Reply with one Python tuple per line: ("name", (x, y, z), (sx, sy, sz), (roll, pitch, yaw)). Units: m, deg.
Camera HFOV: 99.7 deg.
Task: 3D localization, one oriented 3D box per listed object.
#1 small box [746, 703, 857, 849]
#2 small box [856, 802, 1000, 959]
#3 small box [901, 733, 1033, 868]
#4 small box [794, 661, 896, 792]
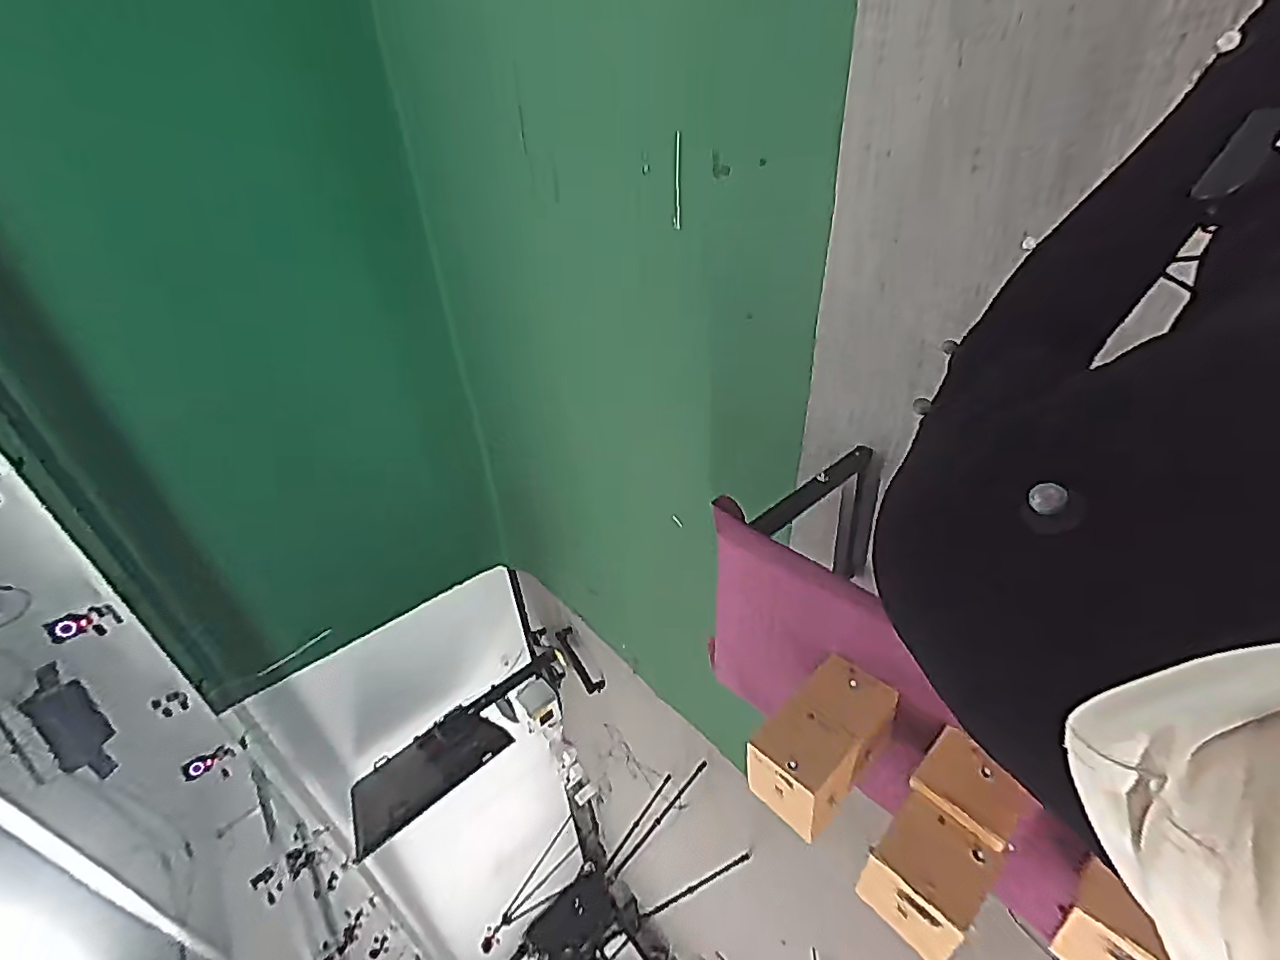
("small box", (0.348, 0.629, 1.164), (0.168, 0.176, 0.179), (24, 132, 43))
("small box", (0.532, 0.748, 1.001), (0.168, 0.176, 0.179), (31, 136, 39))
("small box", (0.648, 0.656, 1.079), (0.168, 0.176, 0.179), (27, 132, 42))
("small box", (0.470, 0.563, 1.252), (0.168, 0.176, 0.179), (25, 132, 43))
